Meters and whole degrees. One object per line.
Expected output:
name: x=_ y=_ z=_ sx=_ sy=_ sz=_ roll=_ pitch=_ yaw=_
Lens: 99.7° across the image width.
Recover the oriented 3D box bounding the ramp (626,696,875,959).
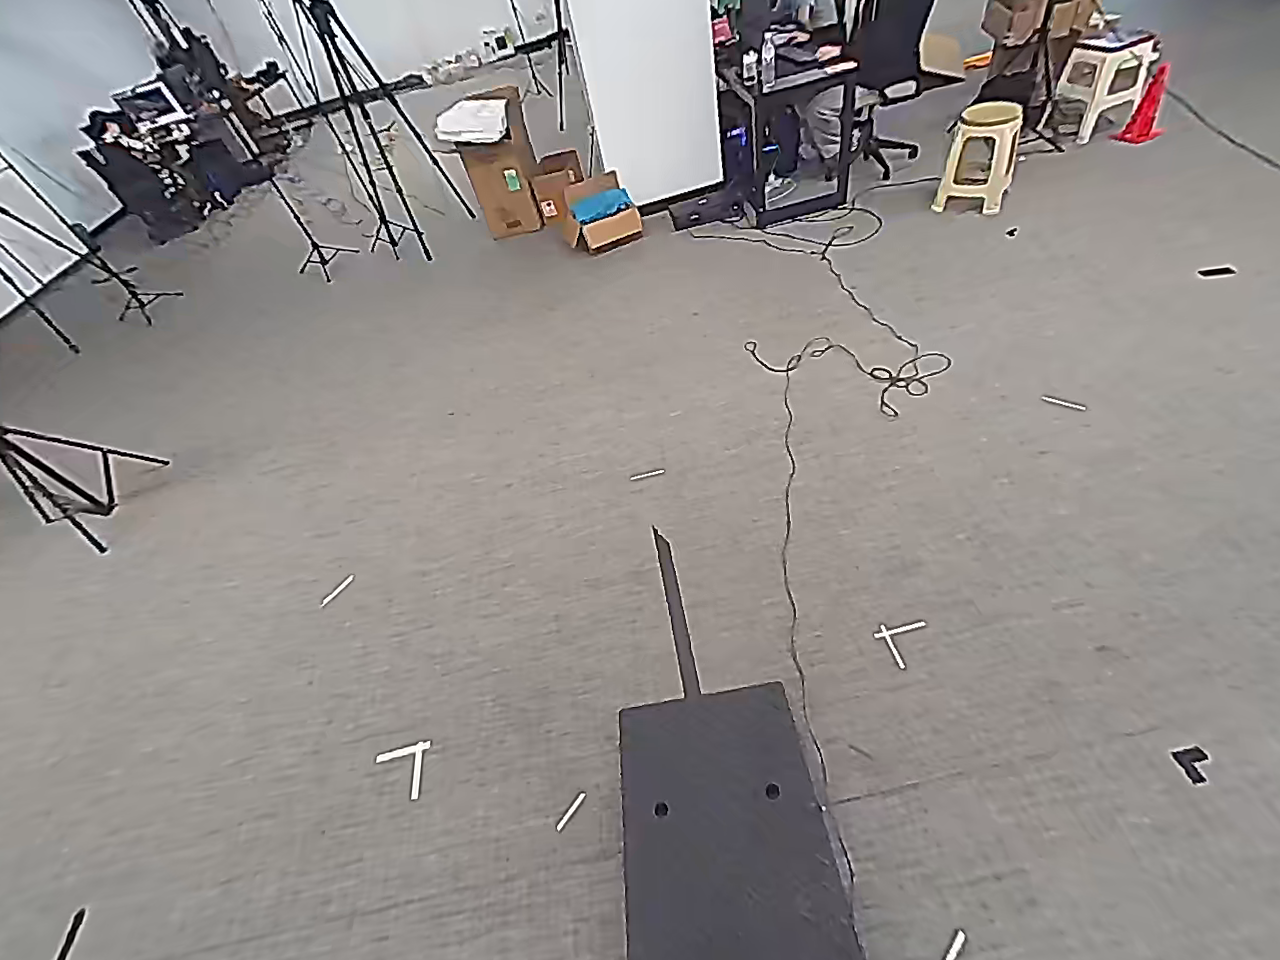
ramp: x=0.229 y=0.969 z=1.184 sx=0.509 sy=0.206 sz=0.991 roll=-15 pitch=45 yaw=4
